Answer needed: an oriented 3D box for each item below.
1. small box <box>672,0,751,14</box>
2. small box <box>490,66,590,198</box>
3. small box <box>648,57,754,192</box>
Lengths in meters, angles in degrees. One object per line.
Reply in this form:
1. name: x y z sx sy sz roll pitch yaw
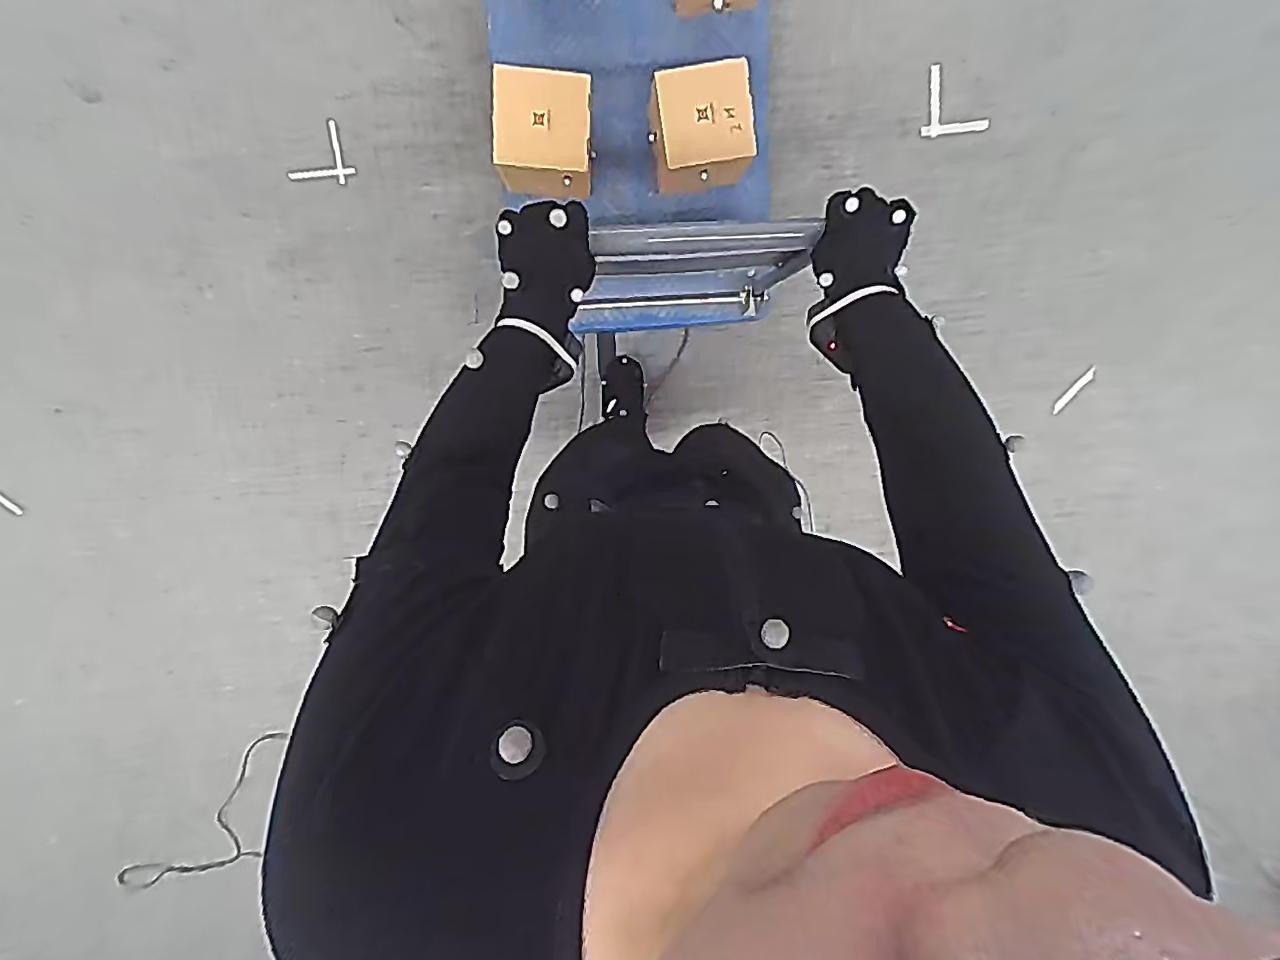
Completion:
1. small box: 0.142 -1.022 1.003 0.168 0.176 0.179 -8 104 -2
2. small box: -0.190 -0.669 1.060 0.179 0.176 0.168 1 102 -6
3. small box: 0.114 -0.693 1.076 0.179 0.176 0.168 -10 103 -1
